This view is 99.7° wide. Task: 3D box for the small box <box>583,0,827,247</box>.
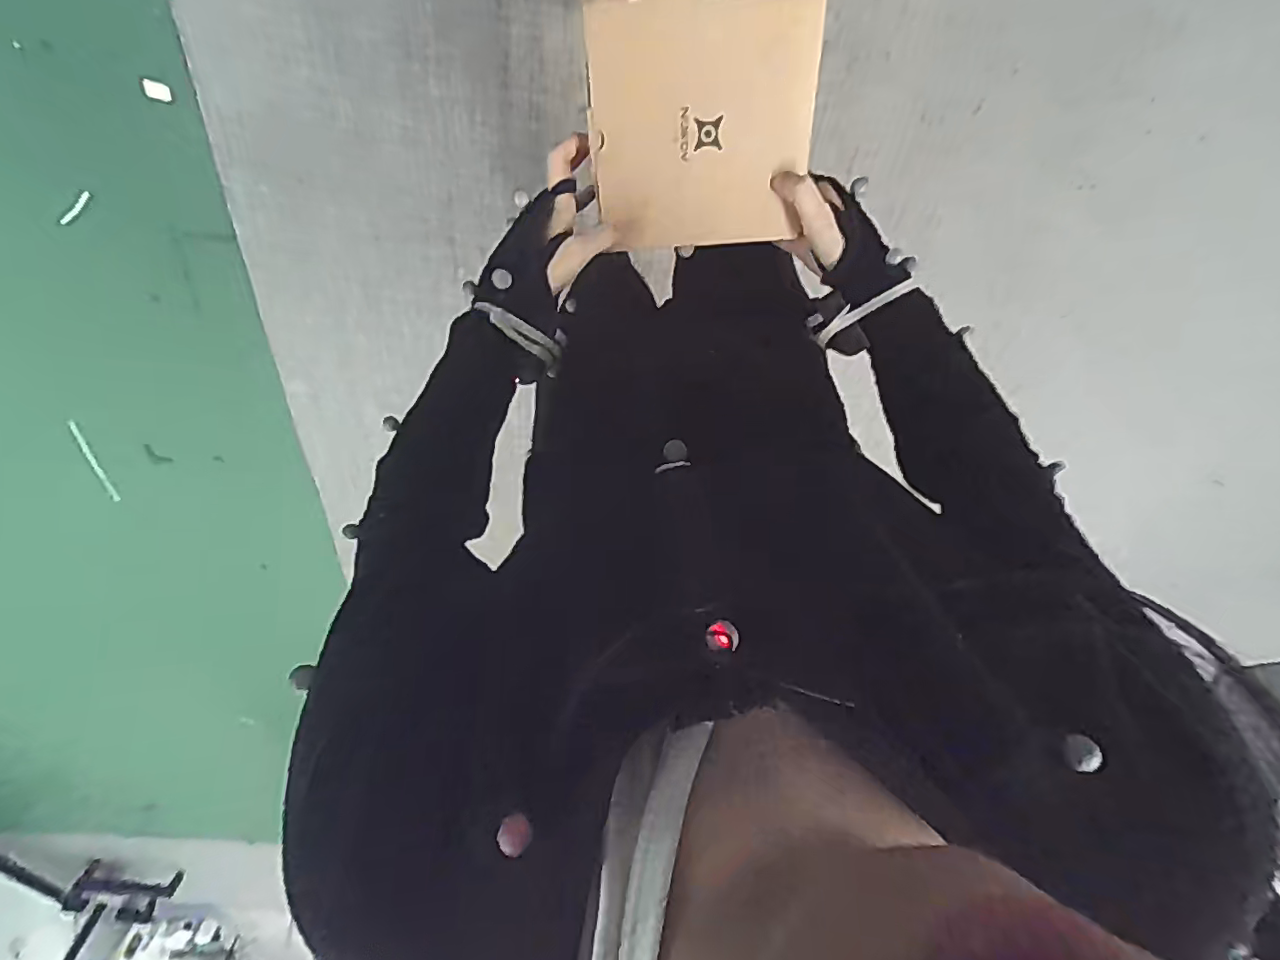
[{"bbox_3d":[0.046,-0.323,0.487,0.179,0.176,0.168,-4,127,1],"label":"small box"}]
